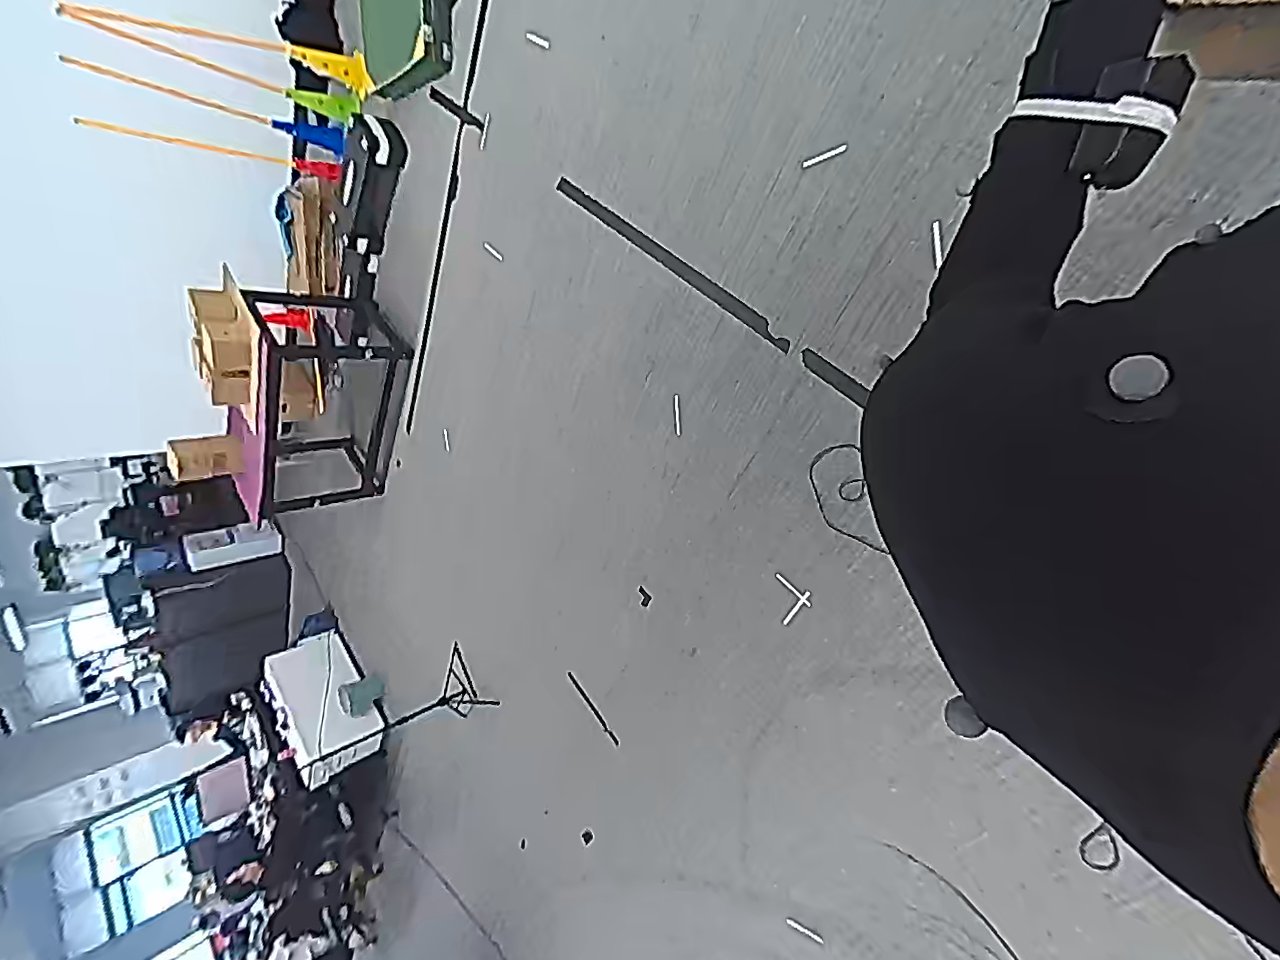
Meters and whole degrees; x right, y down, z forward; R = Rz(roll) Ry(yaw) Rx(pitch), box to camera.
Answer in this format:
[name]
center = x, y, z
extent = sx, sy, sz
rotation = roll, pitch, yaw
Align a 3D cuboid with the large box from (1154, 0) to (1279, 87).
[large box]
center = 0.578, -0.401, 0.259
extent = 0.408, 0.320, 0.320
rotation = 26, 128, 31
